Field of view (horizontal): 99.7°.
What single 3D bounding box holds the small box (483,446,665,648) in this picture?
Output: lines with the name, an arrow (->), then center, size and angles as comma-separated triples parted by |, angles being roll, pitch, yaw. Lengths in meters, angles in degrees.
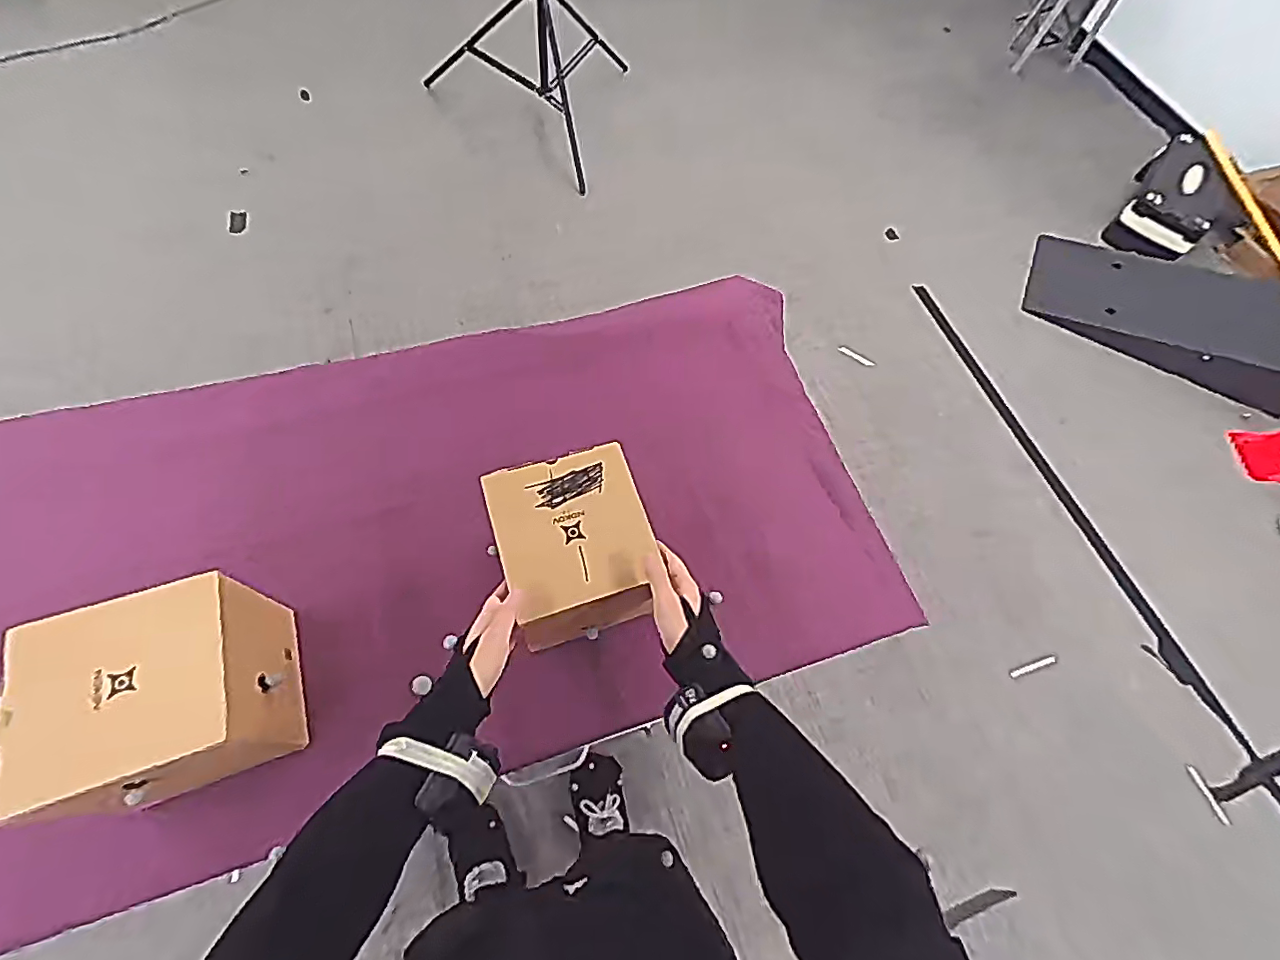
small box -> -0.084, 0.087, 0.664 | 0.168, 0.176, 0.179 | -15, 67, -13

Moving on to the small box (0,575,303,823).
small box -> -0.476, 0.219, 0.557 | 0.179, 0.176, 0.168 | -17, 67, -14
